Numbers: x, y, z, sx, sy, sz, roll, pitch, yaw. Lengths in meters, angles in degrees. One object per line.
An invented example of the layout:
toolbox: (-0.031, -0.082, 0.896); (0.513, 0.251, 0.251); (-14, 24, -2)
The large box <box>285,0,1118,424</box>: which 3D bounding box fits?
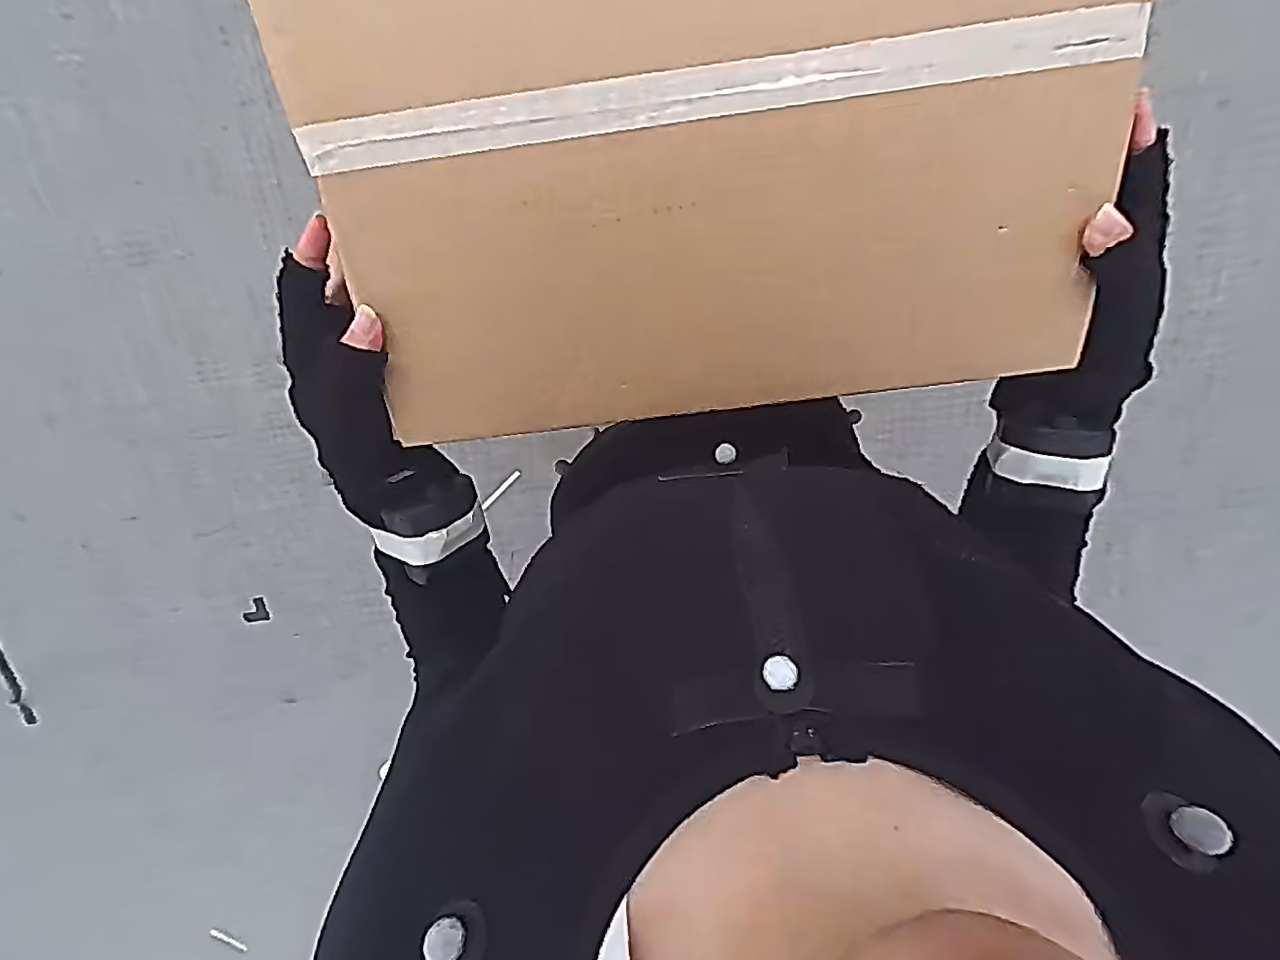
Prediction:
large box: (0.031, -0.257, 0.409); (0.408, 0.320, 0.320); (-7, 114, 2)
